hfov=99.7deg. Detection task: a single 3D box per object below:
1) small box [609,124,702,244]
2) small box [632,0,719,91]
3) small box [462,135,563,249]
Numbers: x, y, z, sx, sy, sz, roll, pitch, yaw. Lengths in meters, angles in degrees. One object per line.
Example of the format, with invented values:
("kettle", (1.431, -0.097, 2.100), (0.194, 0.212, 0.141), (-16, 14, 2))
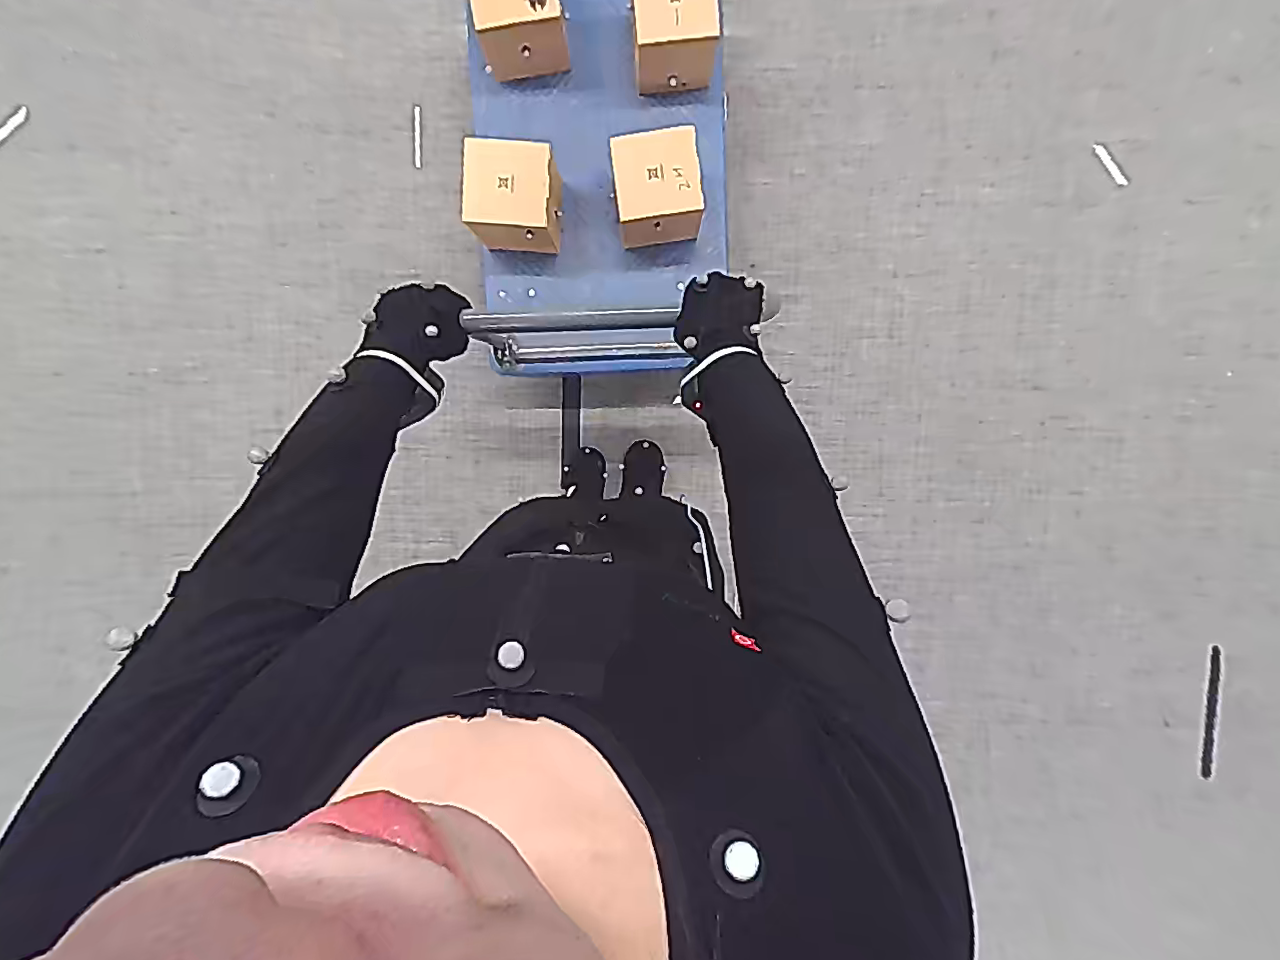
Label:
("small box", (0.035, -0.630, 1.171), (0.179, 0.176, 0.168), (-7, 96, 2))
("small box", (0.070, -0.965, 1.137), (0.168, 0.176, 0.179), (-5, 97, 1))
("small box", (-0.272, -0.617, 1.178), (0.179, 0.176, 0.168), (4, 96, -1))
